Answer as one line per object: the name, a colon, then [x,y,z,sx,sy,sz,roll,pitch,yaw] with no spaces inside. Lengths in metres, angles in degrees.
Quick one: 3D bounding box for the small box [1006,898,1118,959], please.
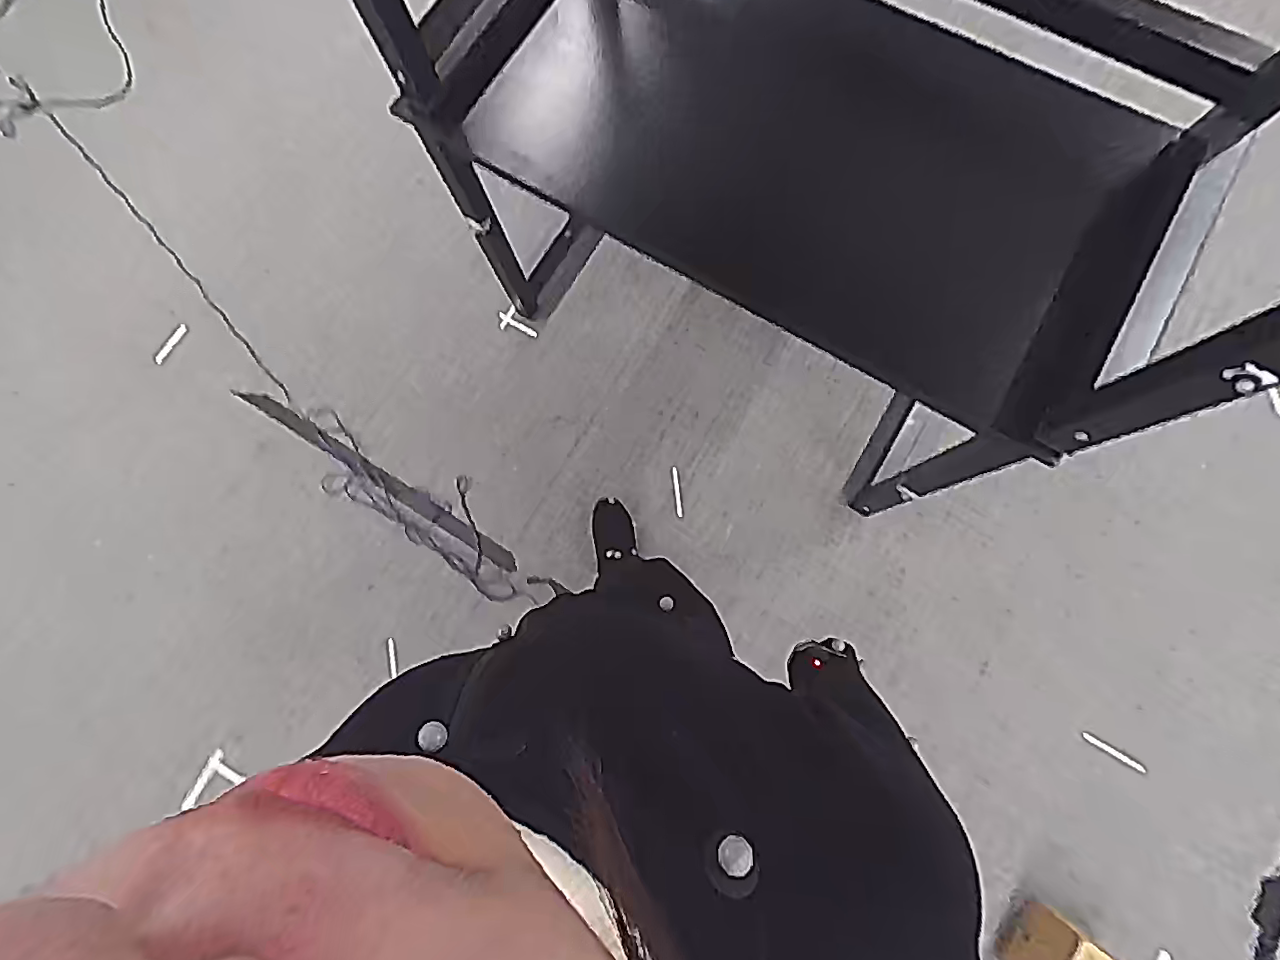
small box: [0.958,1.095,1.195,0.168,0.176,0.179,36,84,8]
